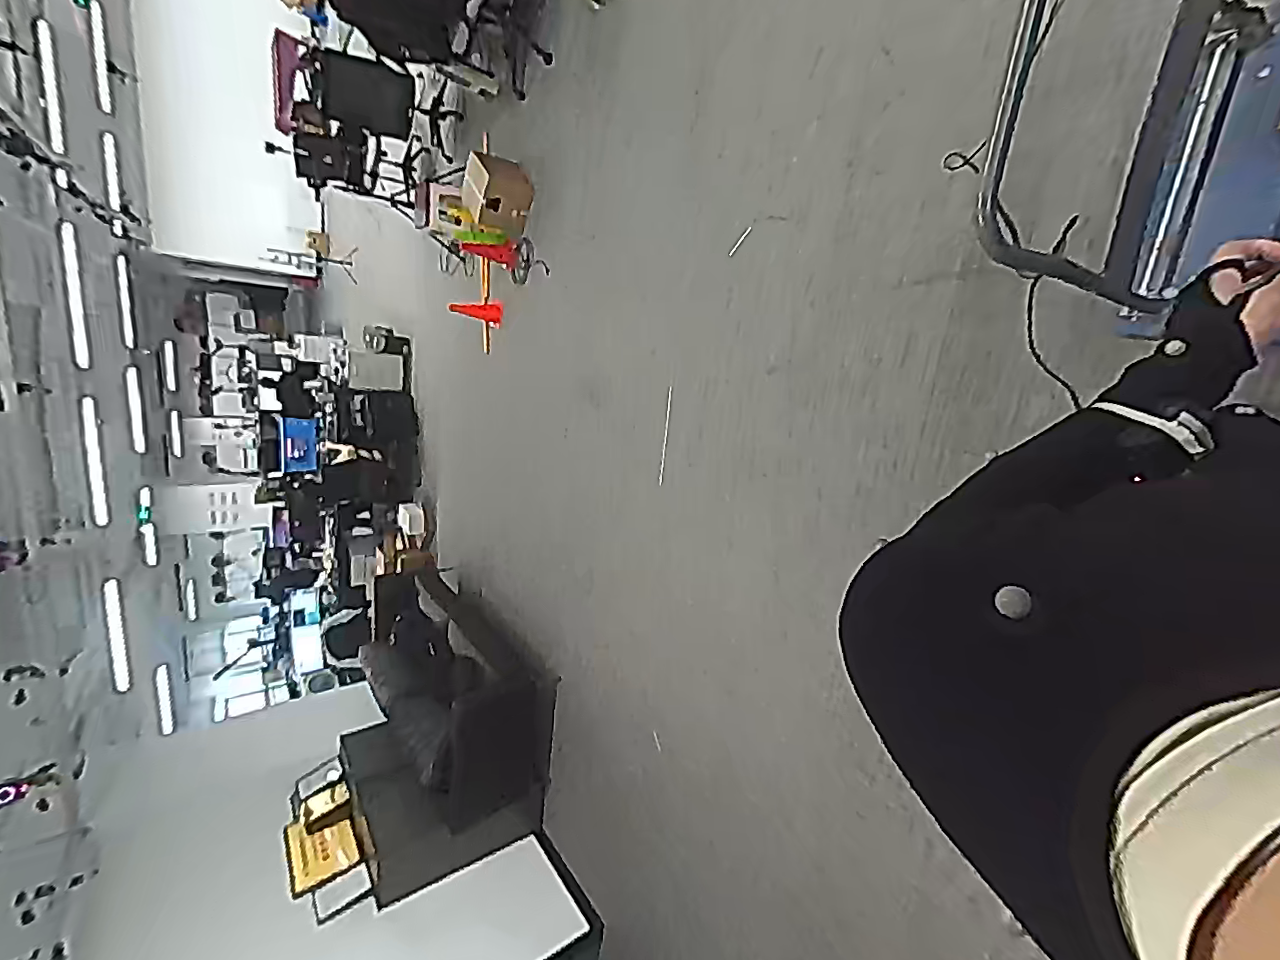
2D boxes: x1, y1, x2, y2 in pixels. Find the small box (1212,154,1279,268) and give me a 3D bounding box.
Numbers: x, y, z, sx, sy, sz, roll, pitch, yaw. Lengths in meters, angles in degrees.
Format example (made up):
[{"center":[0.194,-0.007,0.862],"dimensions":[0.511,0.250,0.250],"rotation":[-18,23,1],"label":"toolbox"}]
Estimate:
[{"center":[0.663,-0.251,0.458],"dimensions":[0.179,0.176,0.168],"rotation":[45,134,33],"label":"small box"}]
